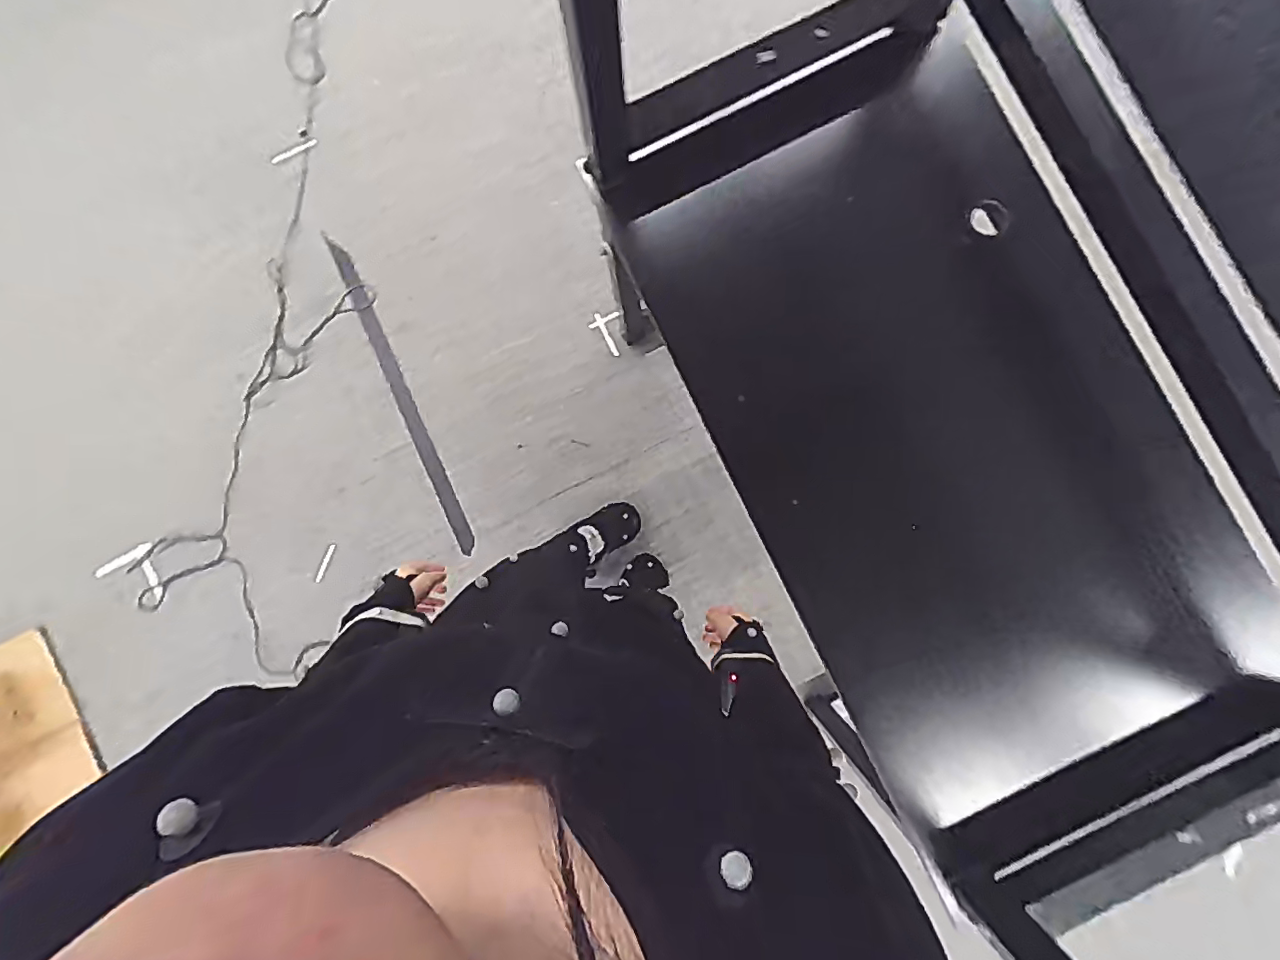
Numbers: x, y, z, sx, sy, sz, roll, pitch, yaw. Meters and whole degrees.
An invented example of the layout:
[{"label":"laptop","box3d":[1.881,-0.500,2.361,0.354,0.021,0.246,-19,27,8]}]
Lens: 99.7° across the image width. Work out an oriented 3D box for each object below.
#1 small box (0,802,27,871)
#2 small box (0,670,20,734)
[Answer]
[{"label":"small box","box3d":[-1.766,0.965,1.390,0.168,0.176,0.179,-24,87,-1]},{"label":"small box","box3d":[-1.801,0.623,1.413,0.179,0.176,0.168,-31,86,-1]}]
